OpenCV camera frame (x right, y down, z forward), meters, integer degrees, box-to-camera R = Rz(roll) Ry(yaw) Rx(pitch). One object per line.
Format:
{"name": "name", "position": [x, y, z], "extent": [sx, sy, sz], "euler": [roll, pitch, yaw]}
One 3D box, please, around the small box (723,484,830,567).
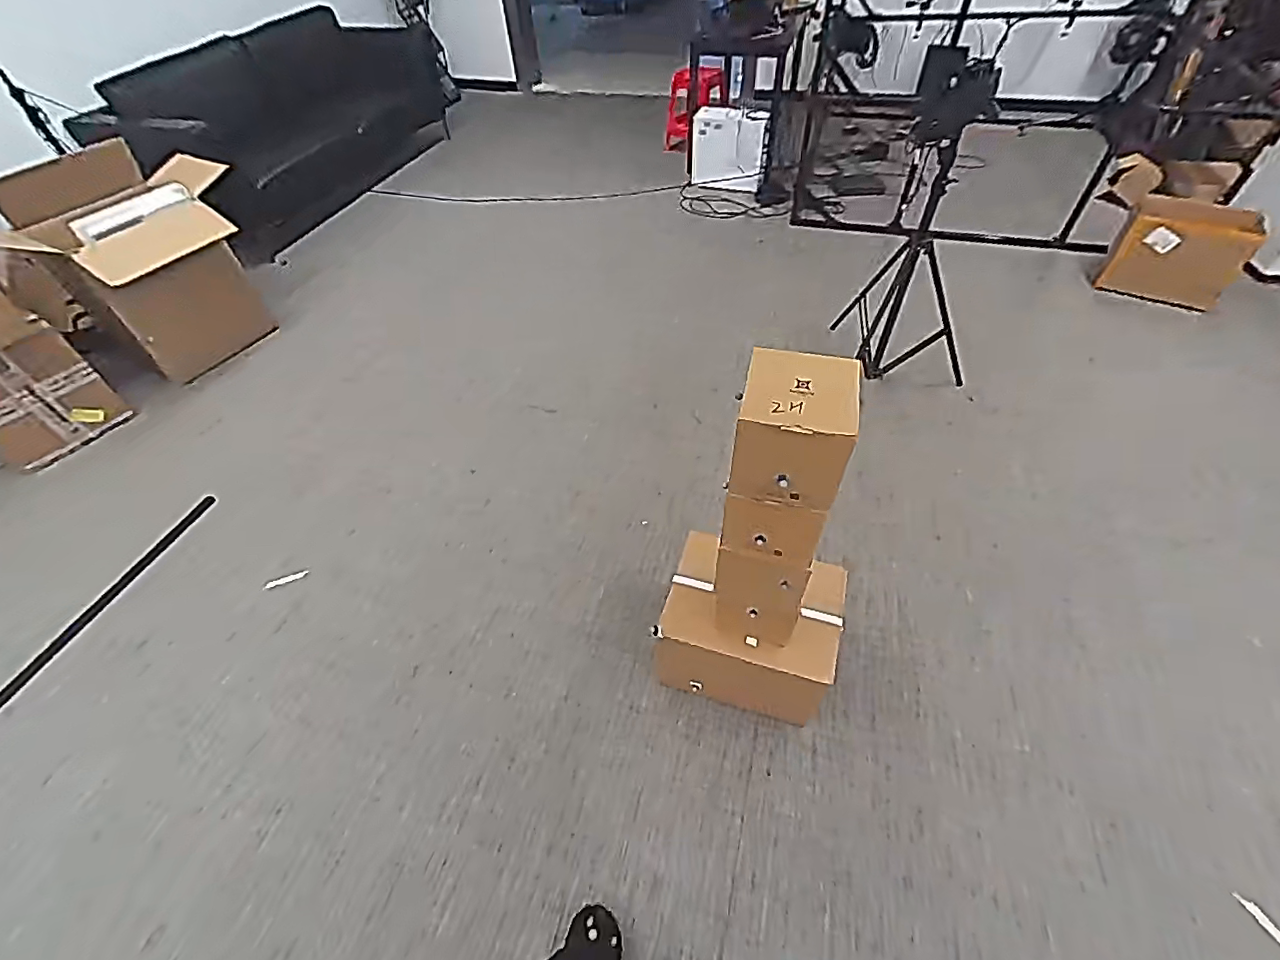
{"name": "small box", "position": [0.250, 0.030, 0.989], "extent": [0.168, 0.176, 0.179], "euler": [11, 52, 12]}

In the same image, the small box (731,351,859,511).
{"name": "small box", "position": [0.242, -0.079, 0.865], "extent": [0.168, 0.176, 0.179], "euler": [10, 52, 12]}

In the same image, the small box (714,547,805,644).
{"name": "small box", "position": [0.269, 0.252, 1.228], "extent": [0.179, 0.176, 0.168], "euler": [11, 52, 11]}
